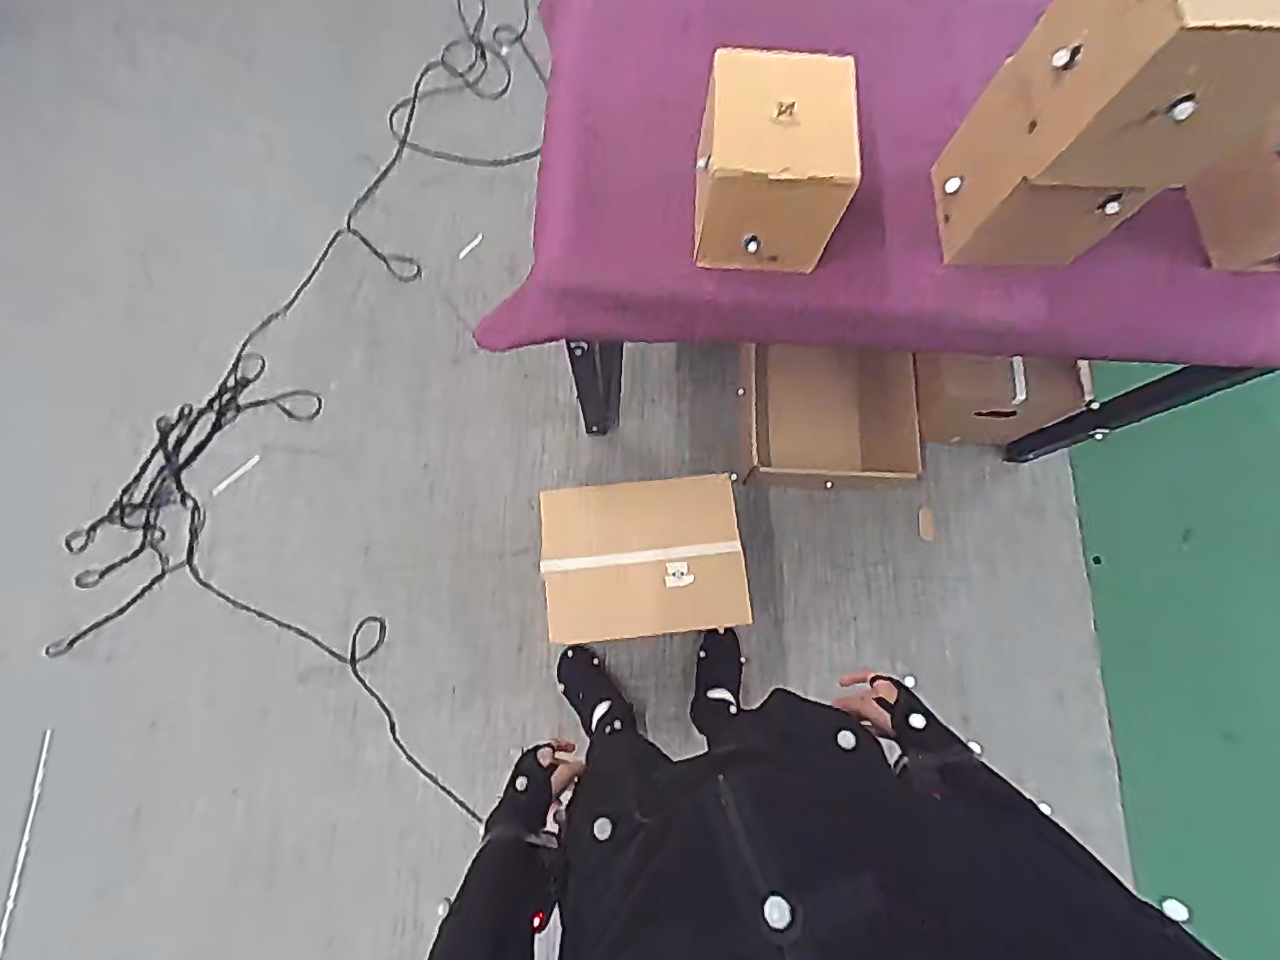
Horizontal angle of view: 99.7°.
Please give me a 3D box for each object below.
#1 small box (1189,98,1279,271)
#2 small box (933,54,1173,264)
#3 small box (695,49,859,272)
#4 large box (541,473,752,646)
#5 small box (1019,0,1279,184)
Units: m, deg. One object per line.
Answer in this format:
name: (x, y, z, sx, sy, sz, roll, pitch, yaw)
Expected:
small box: (0.880, -0.396, 0.698, 0.168, 0.176, 0.179, -1, 76, 1)
small box: (0.513, -0.398, 0.694, 0.179, 0.176, 0.168, 1, 75, 0)
small box: (0.161, -0.396, 0.691, 0.168, 0.176, 0.179, 3, 76, -1)
large box: (0.004, 0.190, 1.229, 0.408, 0.320, 0.320, -5, 76, -3)
small box: (0.510, -0.420, 0.531, 0.179, 0.176, 0.168, 0, 76, 0)
